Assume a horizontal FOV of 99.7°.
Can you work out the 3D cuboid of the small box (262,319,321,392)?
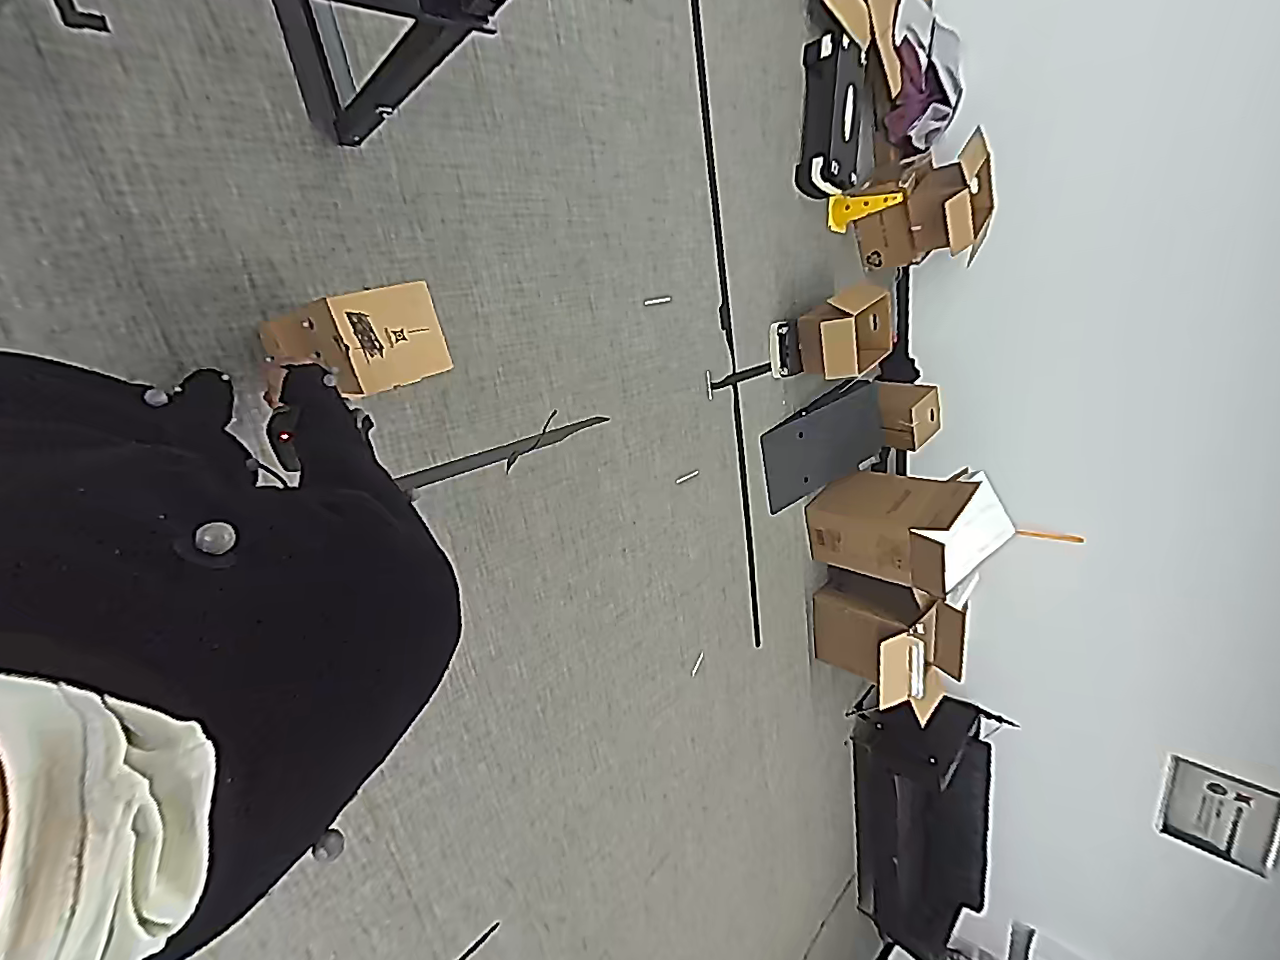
[{"bbox_3d":[-0.815,-0.324,1.362,0.179,0.176,0.168,-26,115,-37],"label":"small box"}]

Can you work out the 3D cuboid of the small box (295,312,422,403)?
[{"bbox_3d":[-0.588,-0.272,1.131,0.168,0.176,0.179,-28,117,-36],"label":"small box"}]

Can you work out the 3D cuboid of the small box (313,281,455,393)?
[{"bbox_3d":[-0.481,-0.263,1.006,0.179,0.176,0.168,-29,117,-37],"label":"small box"}]
